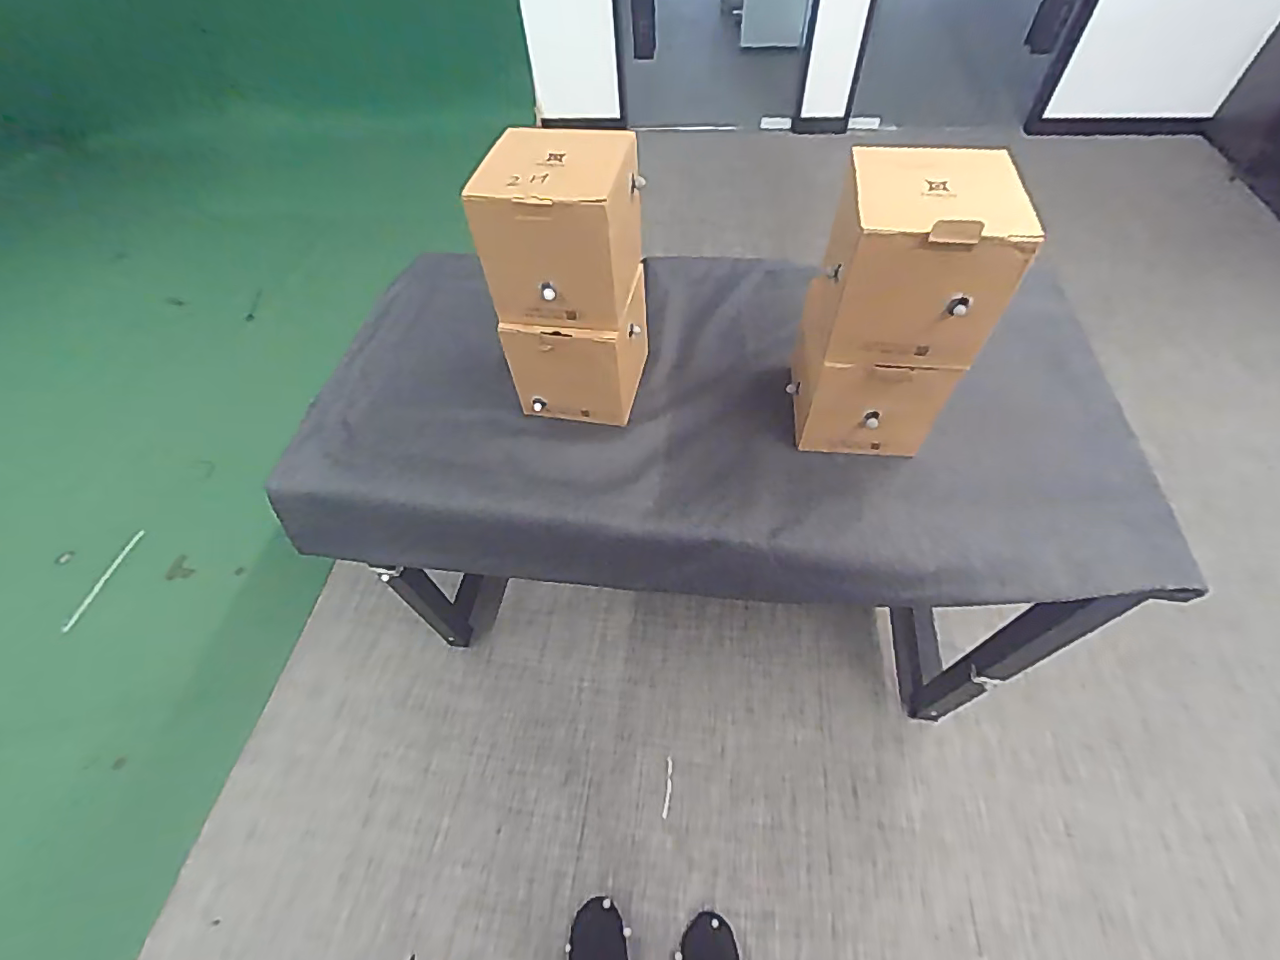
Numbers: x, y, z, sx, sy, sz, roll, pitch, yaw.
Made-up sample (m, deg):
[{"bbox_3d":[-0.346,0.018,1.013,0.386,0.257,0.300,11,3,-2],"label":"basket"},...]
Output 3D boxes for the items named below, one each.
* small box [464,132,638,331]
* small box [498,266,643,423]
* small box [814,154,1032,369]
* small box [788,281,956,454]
[{"bbox_3d":[-0.098,-0.318,0.696,0.168,0.176,0.179,6,55,8],"label":"small box"},{"bbox_3d":[-0.090,-0.208,0.819,0.168,0.176,0.179,8,54,9],"label":"small box"},{"bbox_3d":[0.304,-0.249,0.625,0.168,0.176,0.179,6,54,7],"label":"small box"},{"bbox_3d":[0.307,-0.153,0.757,0.168,0.176,0.179,4,55,6],"label":"small box"}]
